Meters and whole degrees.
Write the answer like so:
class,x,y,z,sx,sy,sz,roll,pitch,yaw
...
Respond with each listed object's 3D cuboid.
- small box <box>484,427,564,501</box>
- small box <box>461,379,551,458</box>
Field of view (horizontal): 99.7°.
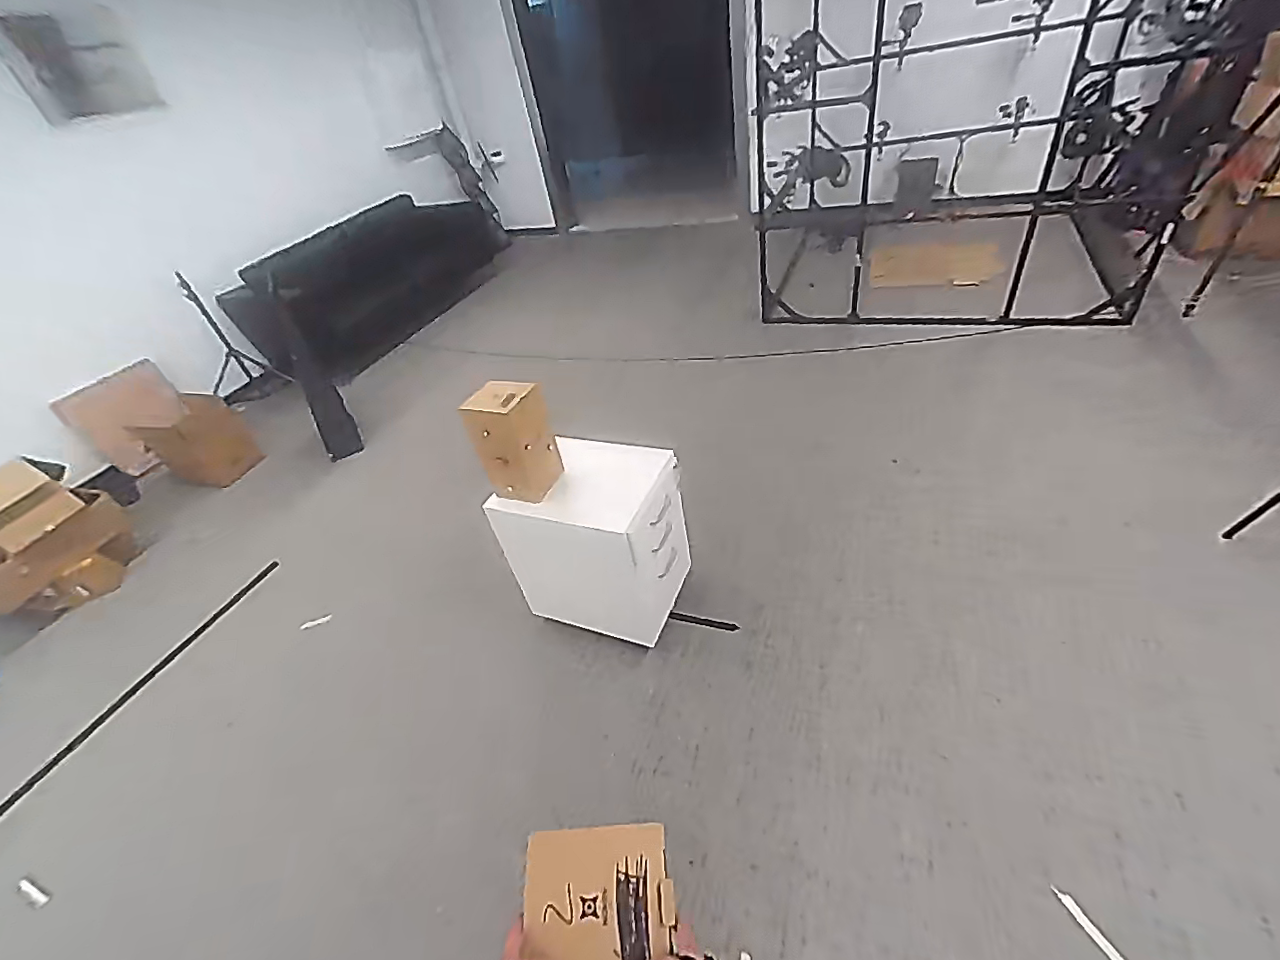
class,x,y,z,sx,sy,sz,roll,pitch,yaw
small box,-0.356,-0.059,1.705,0.168,0.176,0.179,8,43,24
small box,-0.387,-0.181,1.598,0.179,0.176,0.168,8,43,24
